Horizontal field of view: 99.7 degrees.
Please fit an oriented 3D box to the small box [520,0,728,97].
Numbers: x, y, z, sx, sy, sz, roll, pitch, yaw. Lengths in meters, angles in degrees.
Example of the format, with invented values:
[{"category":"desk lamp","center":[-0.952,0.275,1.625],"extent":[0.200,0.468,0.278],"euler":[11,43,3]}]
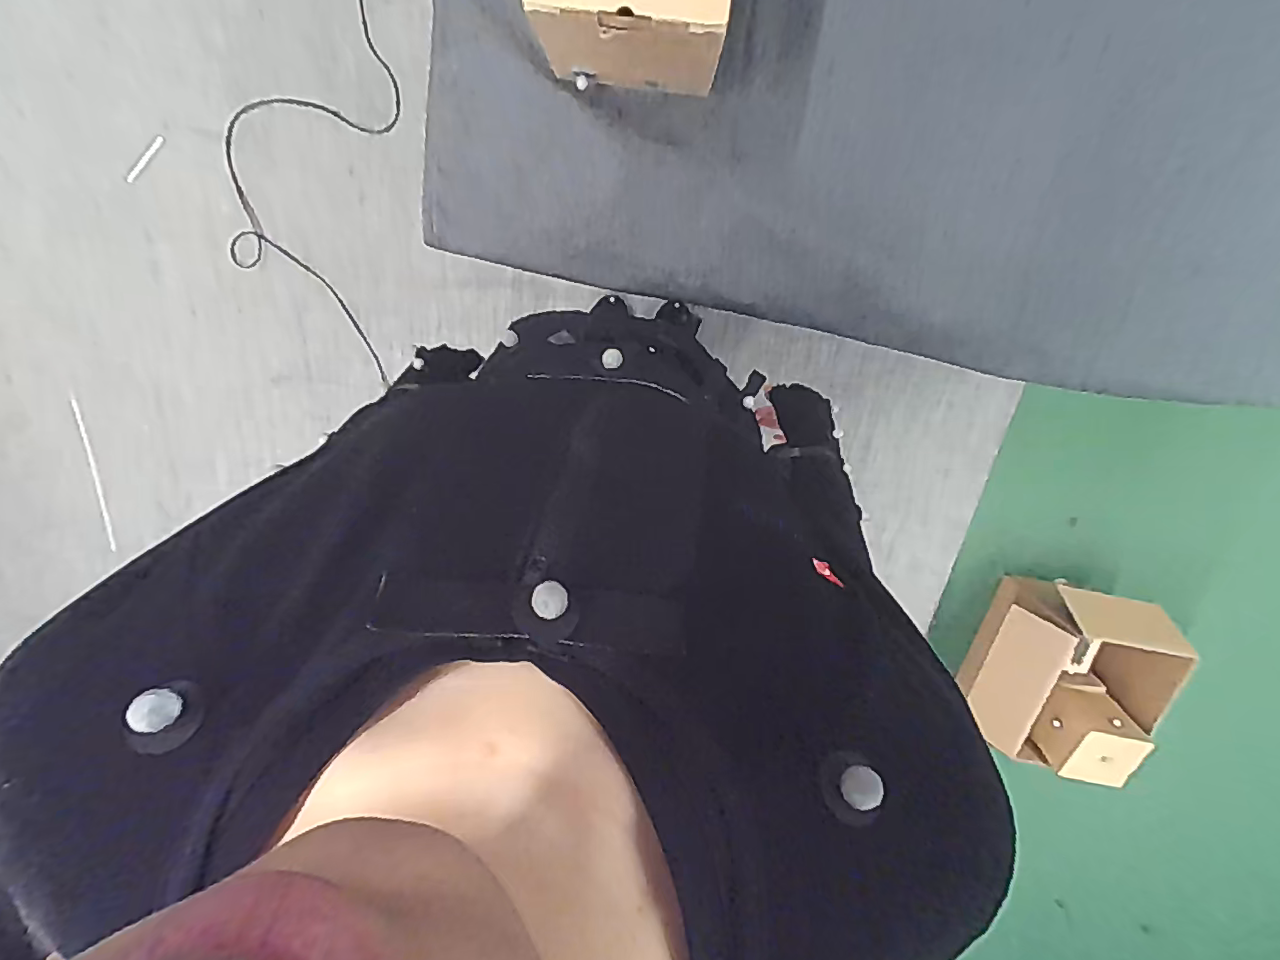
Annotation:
[{"category":"small box","center":[-0.002,-0.464,0.471],"extent":[0.168,0.176,0.179],"euler":[6,109,-1]}]
